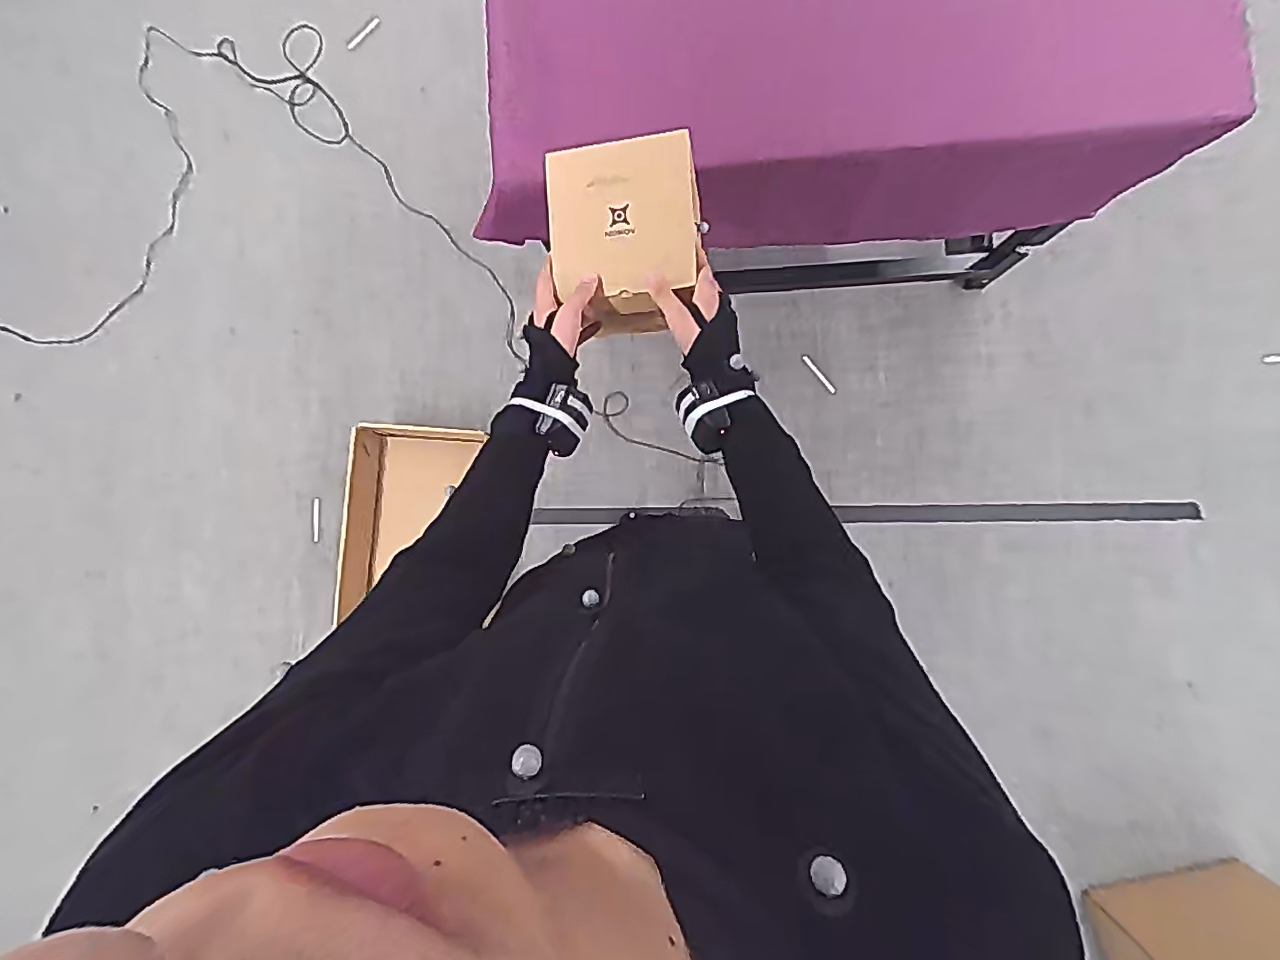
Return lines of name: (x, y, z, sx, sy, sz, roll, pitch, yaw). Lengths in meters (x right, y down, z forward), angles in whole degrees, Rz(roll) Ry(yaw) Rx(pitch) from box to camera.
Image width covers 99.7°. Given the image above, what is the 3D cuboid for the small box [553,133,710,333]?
small box: (-0.001, -0.290, 0.679, 0.168, 0.176, 0.179, -3, 91, 9)
